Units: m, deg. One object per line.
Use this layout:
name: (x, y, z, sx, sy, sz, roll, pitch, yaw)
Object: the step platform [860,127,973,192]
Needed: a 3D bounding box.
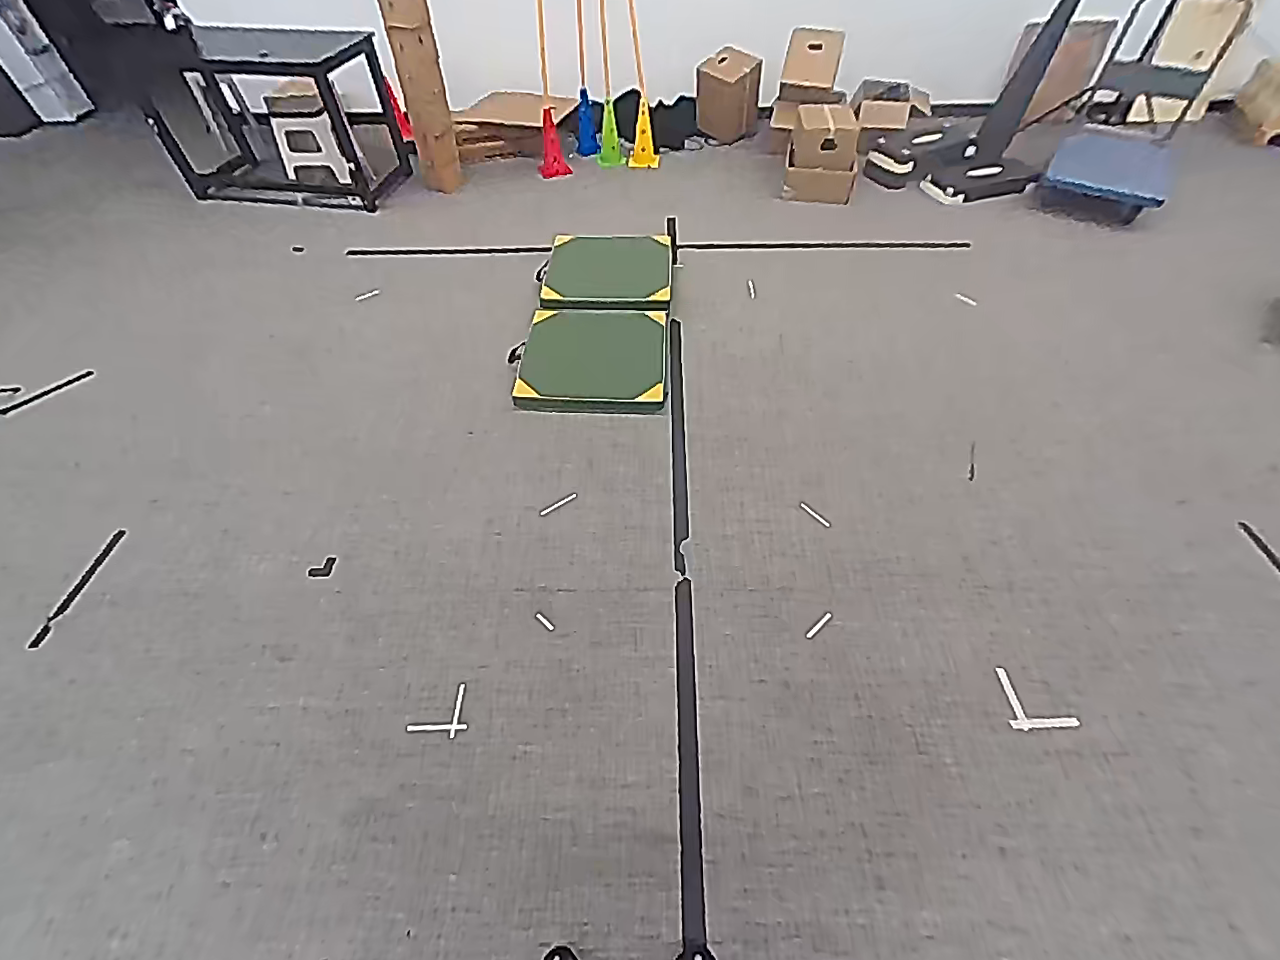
step platform: (1.755, -2.040, 3.425, 0.684, 0.204, 0.286, -23, 55, -16)
